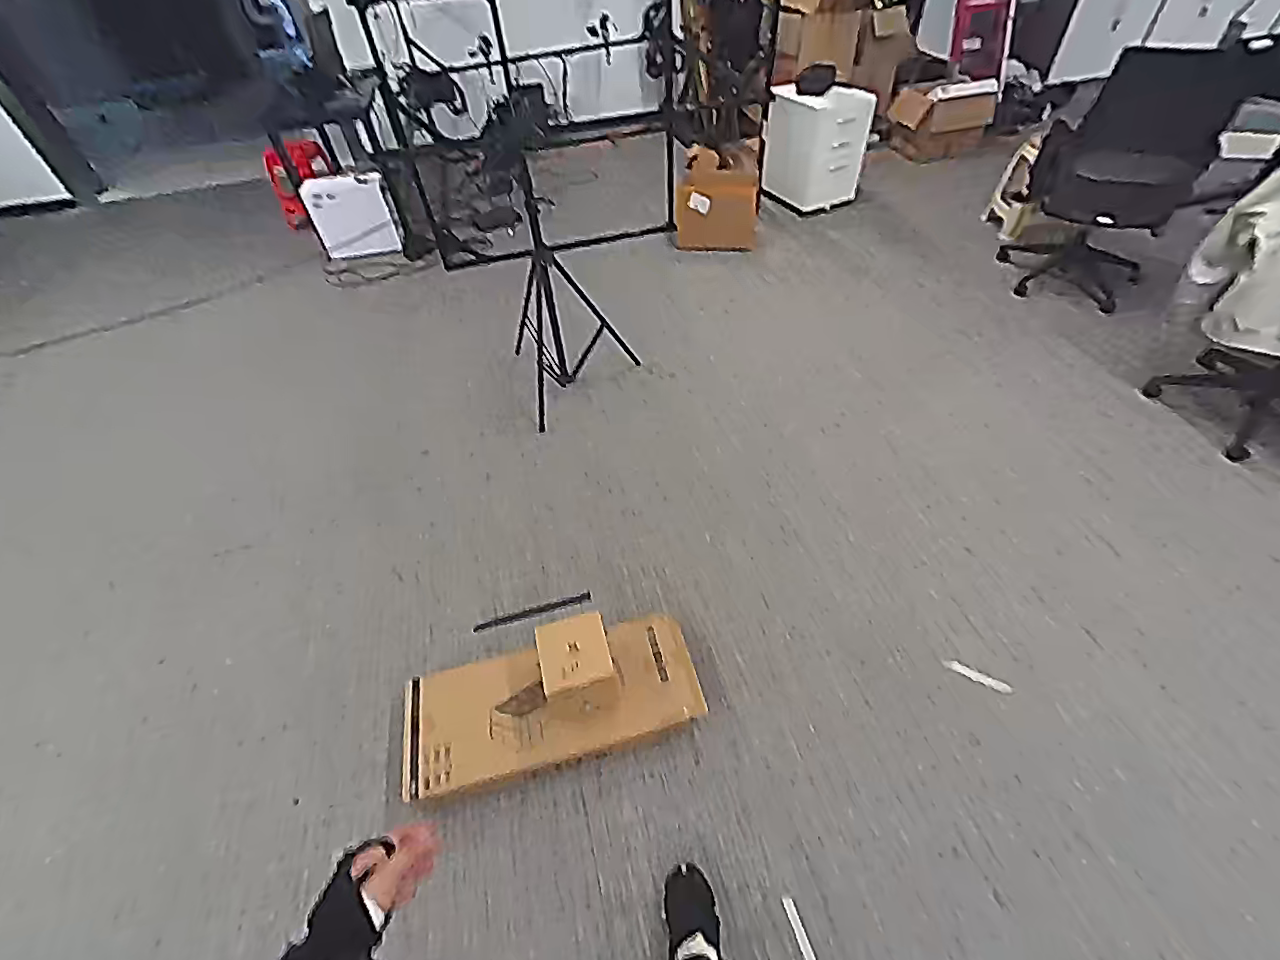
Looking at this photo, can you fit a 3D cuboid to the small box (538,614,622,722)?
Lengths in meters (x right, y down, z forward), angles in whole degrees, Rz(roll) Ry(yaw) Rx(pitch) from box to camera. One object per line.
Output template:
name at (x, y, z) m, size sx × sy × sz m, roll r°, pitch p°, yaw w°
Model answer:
small box at (-0.148, 0.467, 1.340) m, size 0.168 × 0.176 × 0.179 m, roll -14°, pitch 47°, yaw -8°
